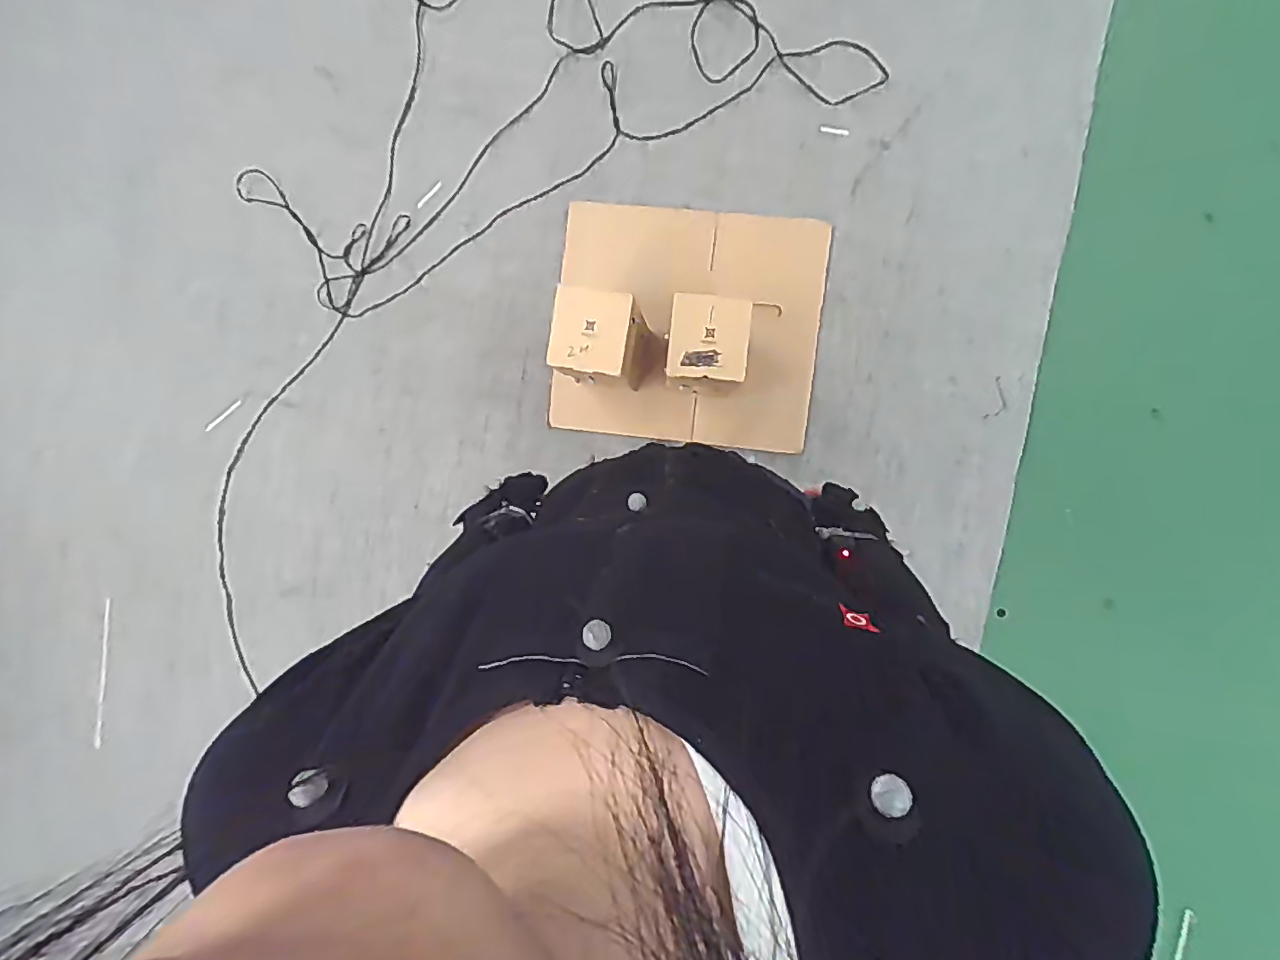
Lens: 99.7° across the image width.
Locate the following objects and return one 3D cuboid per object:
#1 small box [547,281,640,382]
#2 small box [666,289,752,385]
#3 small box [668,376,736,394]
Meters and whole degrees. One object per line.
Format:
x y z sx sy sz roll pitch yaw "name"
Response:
-0.098 -0.326 1.215 0.168 0.176 0.179 10 95 6 "small box"
0.150 -0.308 1.196 0.168 0.176 0.179 5 94 5 "small box"
0.162 -0.318 1.359 0.168 0.176 0.179 6 95 5 "small box"
